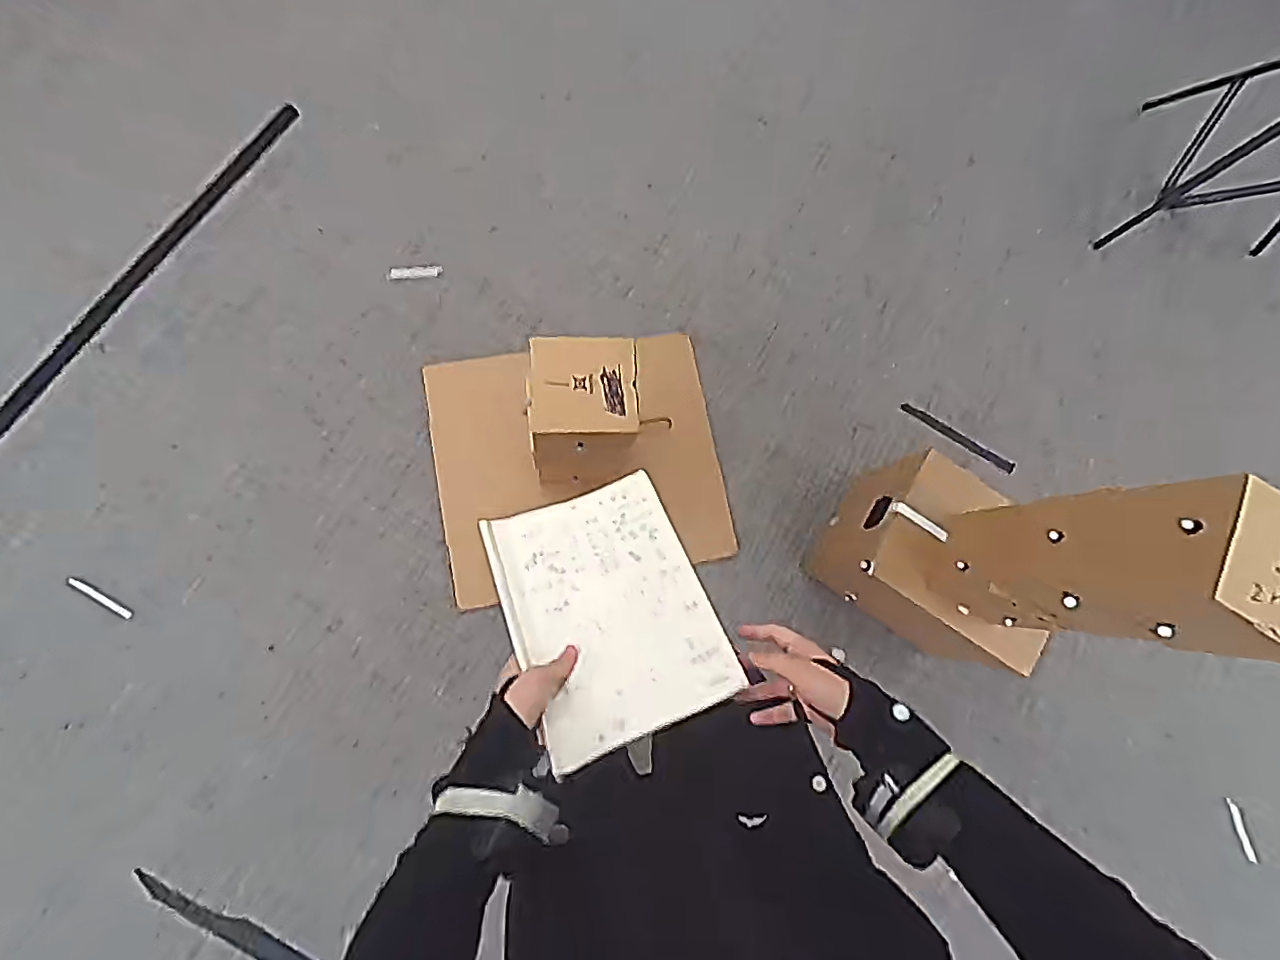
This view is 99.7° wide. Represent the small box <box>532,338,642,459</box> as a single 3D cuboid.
[{"bbox_3d":[-0.099,-0.135,0.951,0.179,0.176,0.168,-1,79,-9],"label":"small box"}]

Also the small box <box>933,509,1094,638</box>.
[{"bbox_3d":[0.699,0.178,1.032,0.168,0.176,0.179,29,77,-3],"label":"small box"}]

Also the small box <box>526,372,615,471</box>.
[{"bbox_3d":[-0.138,-0.117,1.111,0.179,0.176,0.168,-4,80,-11],"label":"small box"}]

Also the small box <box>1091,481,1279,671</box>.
[{"bbox_3d":[0.753,0.127,0.712,0.168,0.176,0.179,31,78,-1],"label":"small box"}]

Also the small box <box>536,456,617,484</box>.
[{"bbox_3d":[-0.159,-0.088,1.270,0.179,0.176,0.168,-5,80,-11],"label":"small box"}]
